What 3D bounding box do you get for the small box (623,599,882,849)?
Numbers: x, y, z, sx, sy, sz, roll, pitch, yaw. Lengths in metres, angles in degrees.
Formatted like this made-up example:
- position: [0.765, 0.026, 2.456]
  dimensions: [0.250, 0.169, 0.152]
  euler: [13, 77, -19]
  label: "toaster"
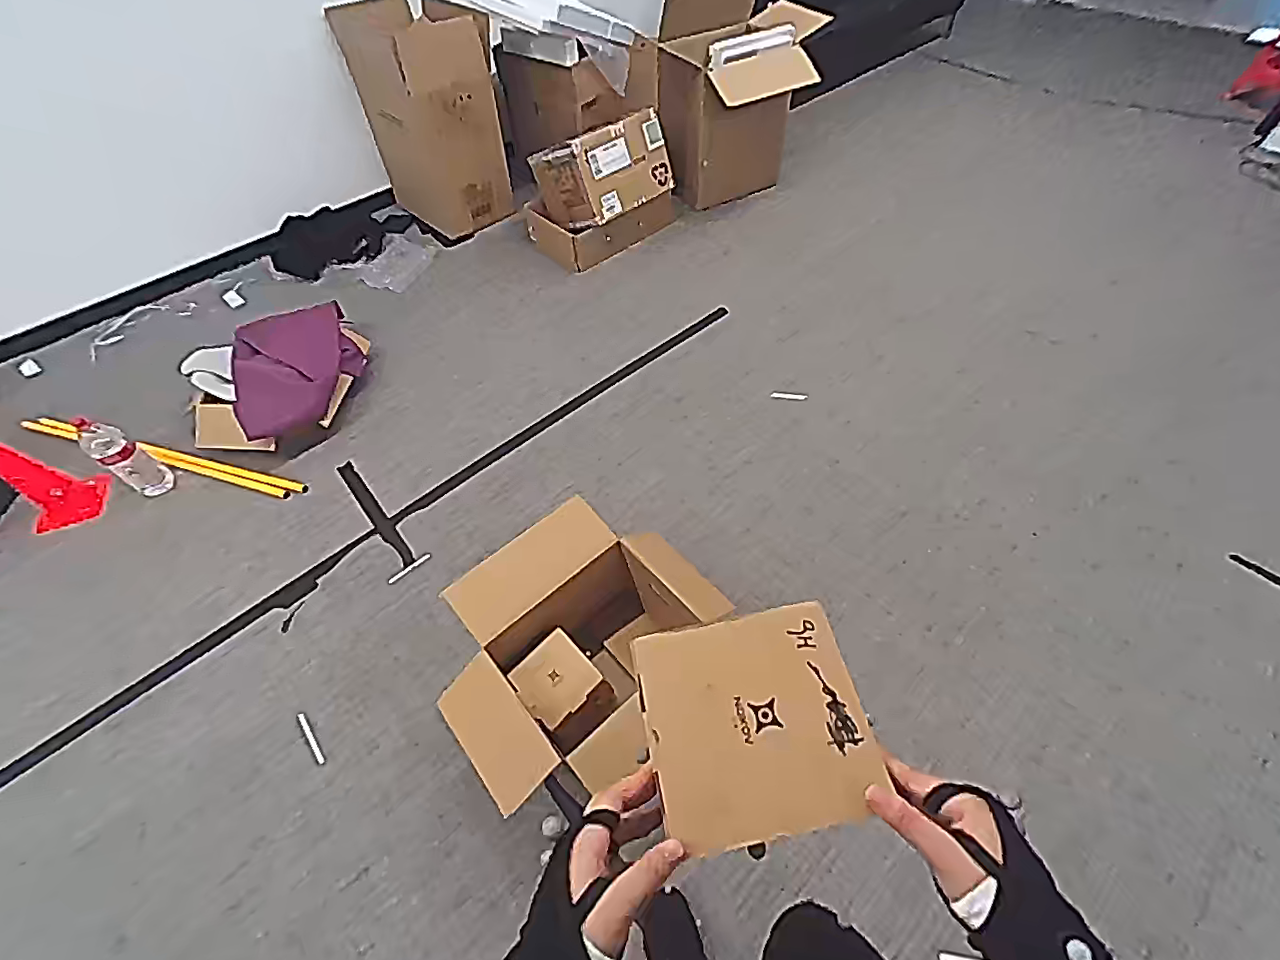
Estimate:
- position: [0.090, 0.233, 0.510]
  dimensions: [0.179, 0.176, 0.168]
  euler: [-11, 58, -3]
  label: "small box"
